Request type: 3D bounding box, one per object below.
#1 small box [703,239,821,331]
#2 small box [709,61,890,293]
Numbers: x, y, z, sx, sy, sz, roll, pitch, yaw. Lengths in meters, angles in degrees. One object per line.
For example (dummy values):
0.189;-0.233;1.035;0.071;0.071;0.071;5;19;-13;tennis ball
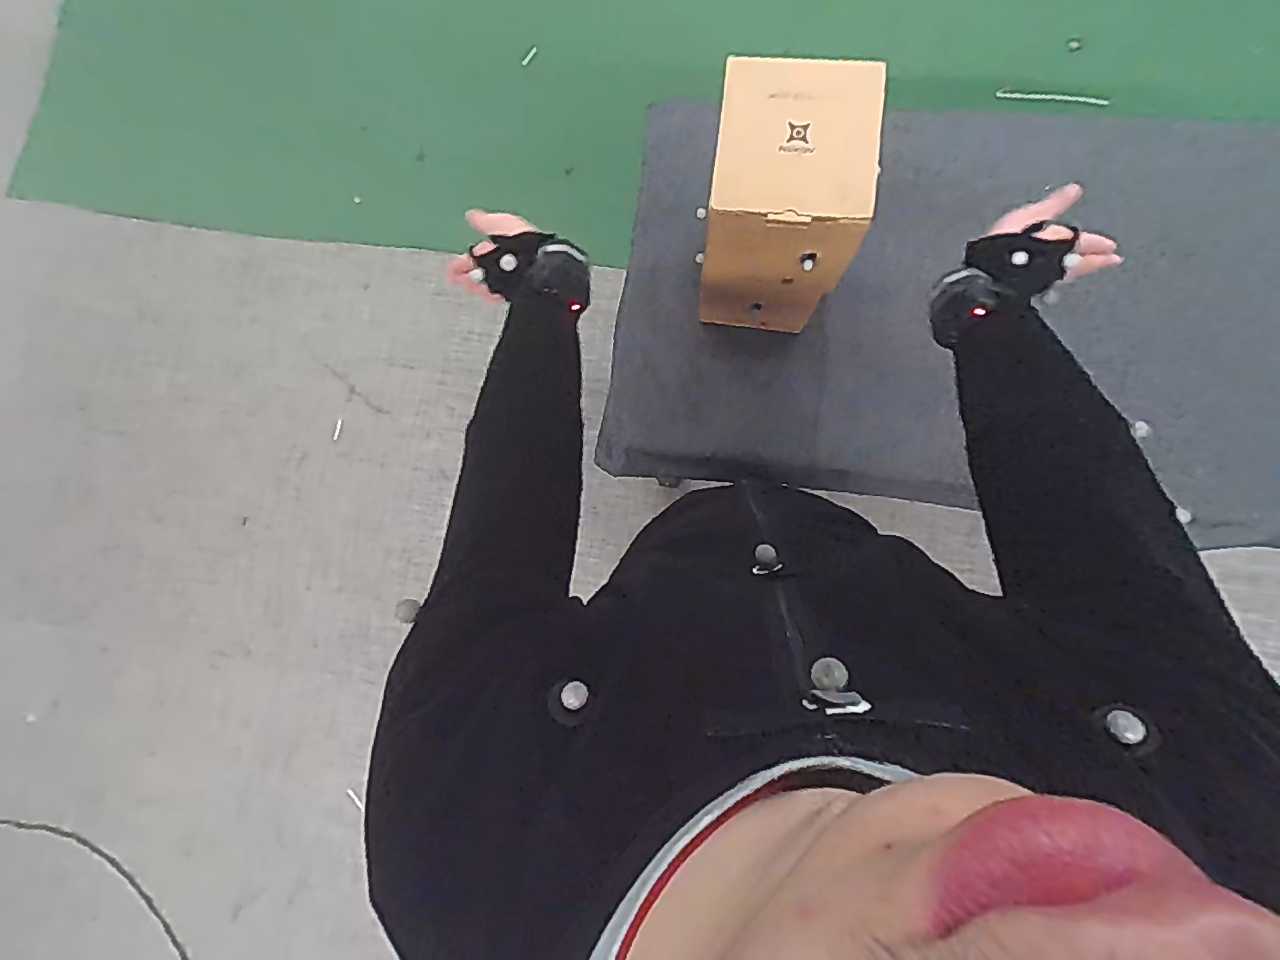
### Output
0.186;-0.336;0.798;0.168;0.176;0.179;9;85;5;small box
0.173;-0.340;0.635;0.168;0.176;0.179;6;84;4;small box
